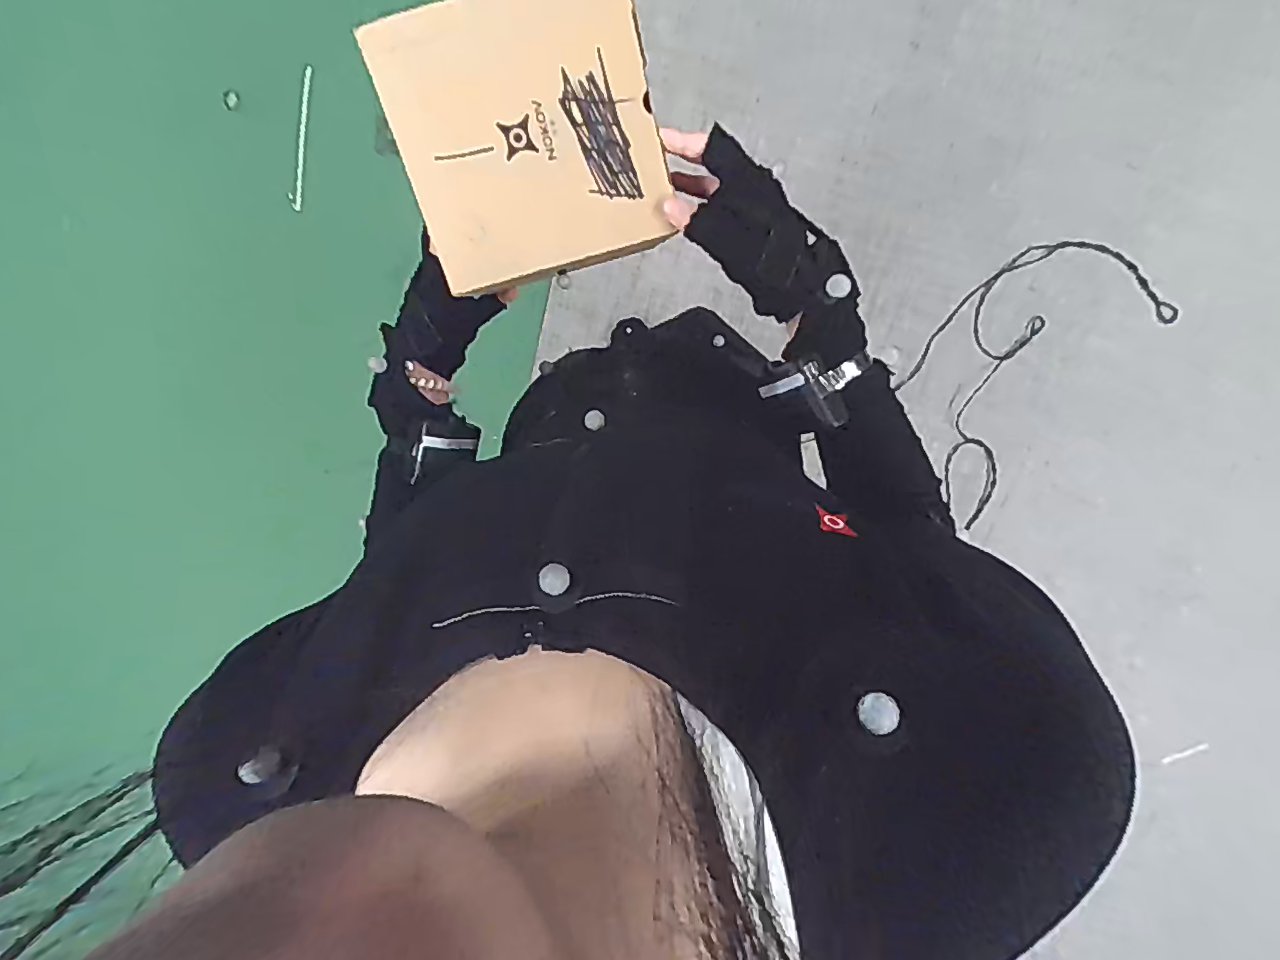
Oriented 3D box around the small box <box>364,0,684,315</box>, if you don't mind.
[{"bbox_3d":[-0.079,-0.242,0.437,0.179,0.176,0.168,-16,110,0],"label":"small box"}]
